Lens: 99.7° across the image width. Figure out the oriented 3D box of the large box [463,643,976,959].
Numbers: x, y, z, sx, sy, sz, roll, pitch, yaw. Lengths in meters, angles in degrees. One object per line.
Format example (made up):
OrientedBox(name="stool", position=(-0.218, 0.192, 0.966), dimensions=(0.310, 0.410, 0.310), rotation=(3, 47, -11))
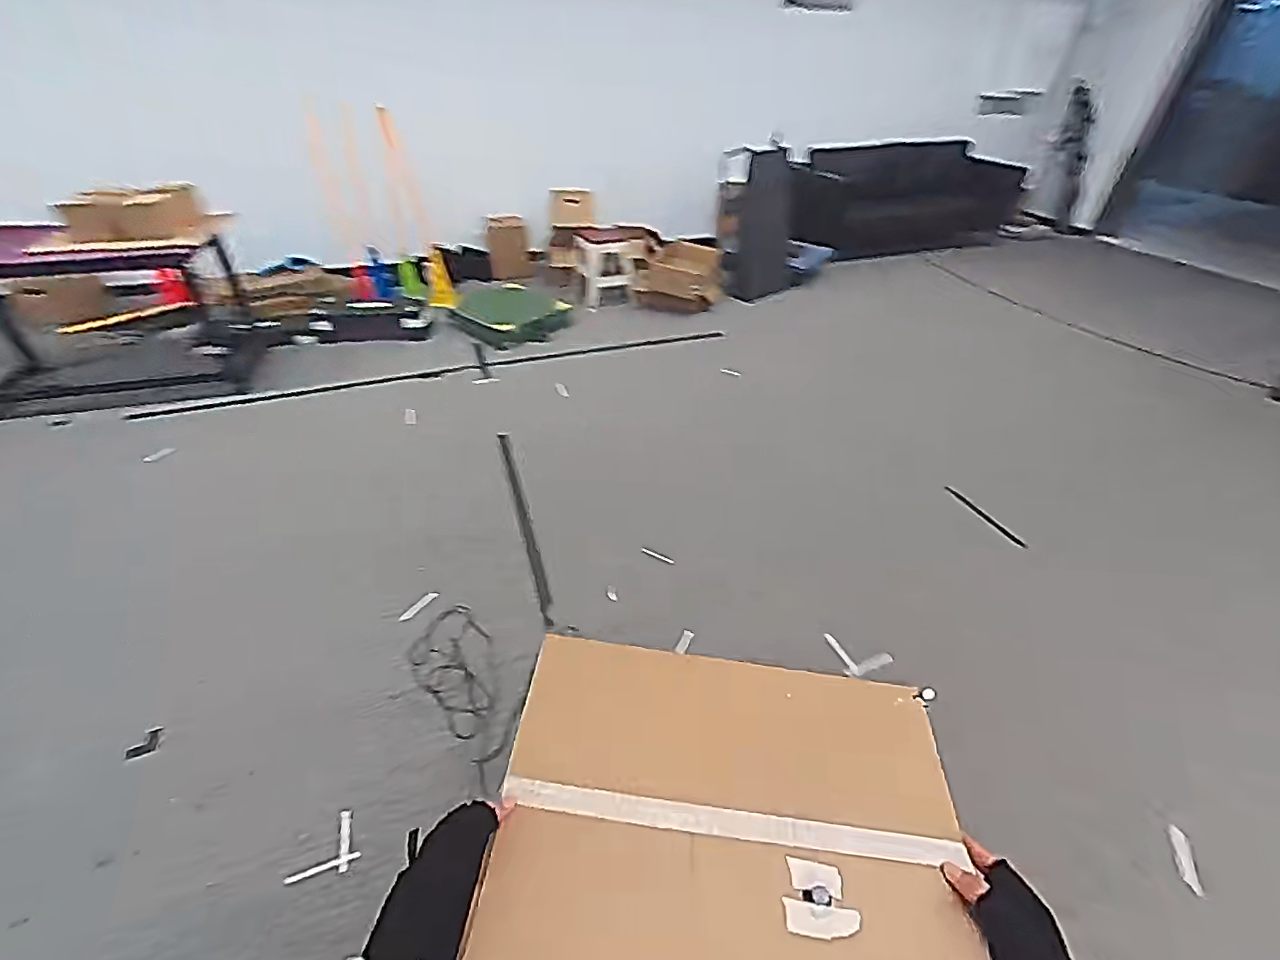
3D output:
OrientedBox(name="large box", position=(0.061, 0.412, 0.583), dimensions=(0.408, 0.320, 0.320), rotation=(7, 43, 1))
